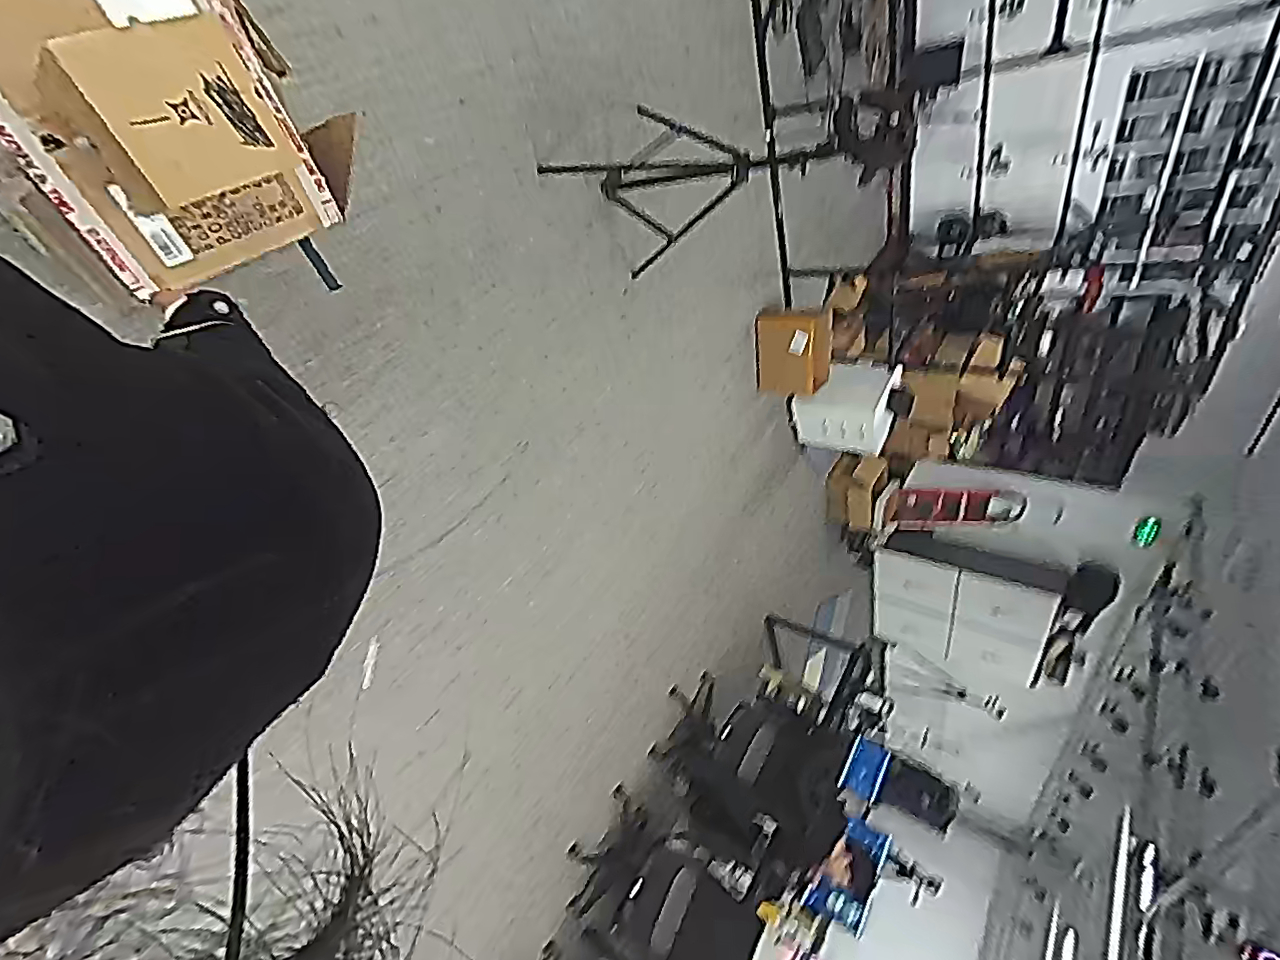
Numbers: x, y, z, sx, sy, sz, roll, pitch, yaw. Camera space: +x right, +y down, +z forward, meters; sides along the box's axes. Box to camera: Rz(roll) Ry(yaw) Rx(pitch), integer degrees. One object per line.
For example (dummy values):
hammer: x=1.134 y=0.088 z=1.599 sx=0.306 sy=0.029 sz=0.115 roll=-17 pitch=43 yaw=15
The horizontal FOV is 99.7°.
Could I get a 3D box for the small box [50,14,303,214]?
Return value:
small box: x=-0.588 y=-0.458 z=0.691 sx=0.179 sy=0.176 sz=0.168 roll=-45 pitch=134 yaw=-30
